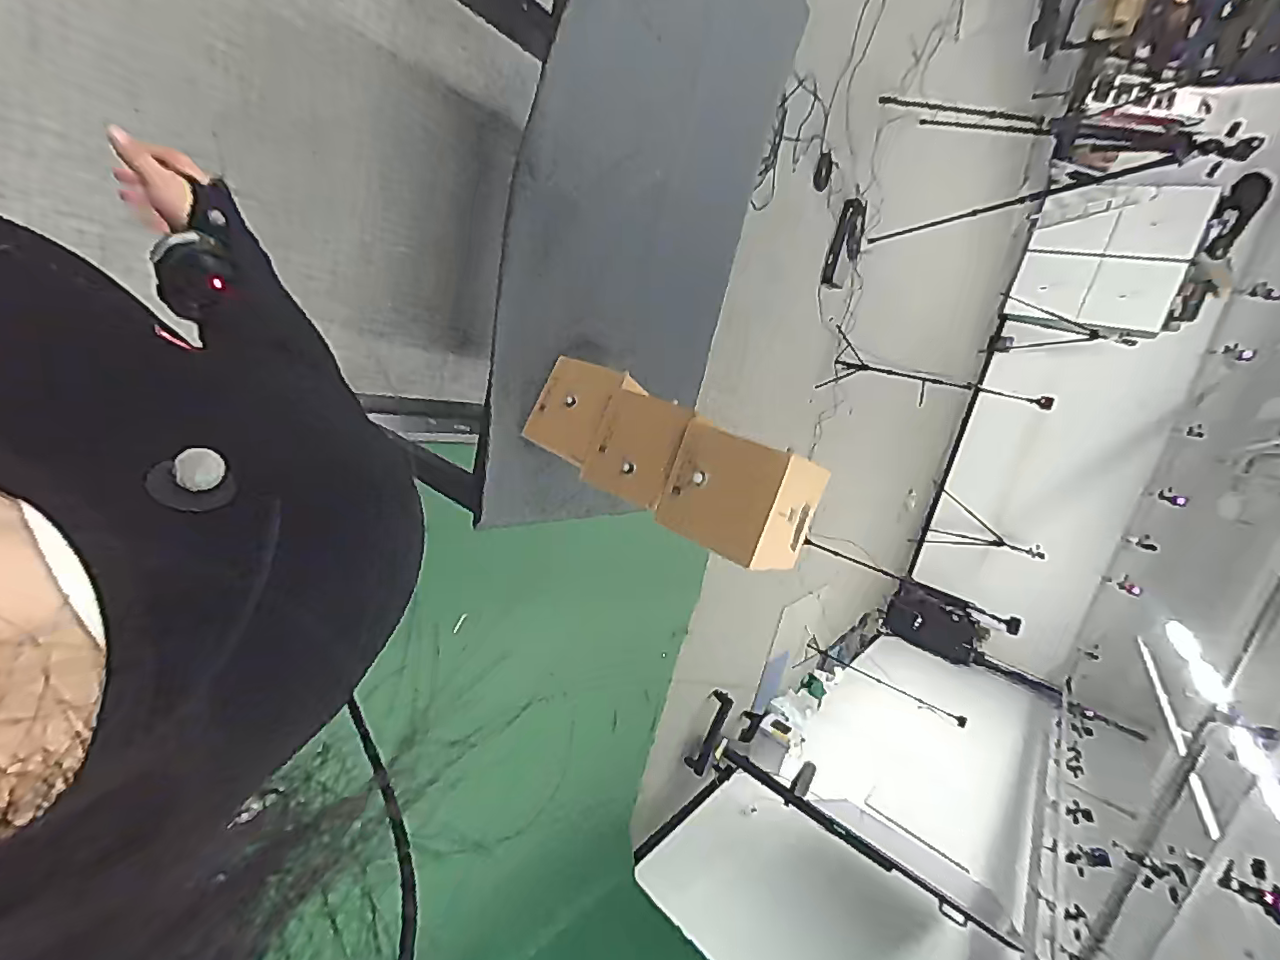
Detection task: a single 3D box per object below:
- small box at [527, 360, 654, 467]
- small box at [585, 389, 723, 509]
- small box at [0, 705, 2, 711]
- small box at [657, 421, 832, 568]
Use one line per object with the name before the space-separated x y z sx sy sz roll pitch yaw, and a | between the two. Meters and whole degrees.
small box | -0.075 -0.108 0.999 0.179 0.176 0.168 32 83 -56
small box | 0.037 -0.039 0.903 0.179 0.176 0.168 22 91 -57
small box | -0.999 0.251 0.702 0.168 0.176 0.179 -33 132 -39
small box | 0.156 0.021 0.806 0.179 0.176 0.168 12 99 -55
